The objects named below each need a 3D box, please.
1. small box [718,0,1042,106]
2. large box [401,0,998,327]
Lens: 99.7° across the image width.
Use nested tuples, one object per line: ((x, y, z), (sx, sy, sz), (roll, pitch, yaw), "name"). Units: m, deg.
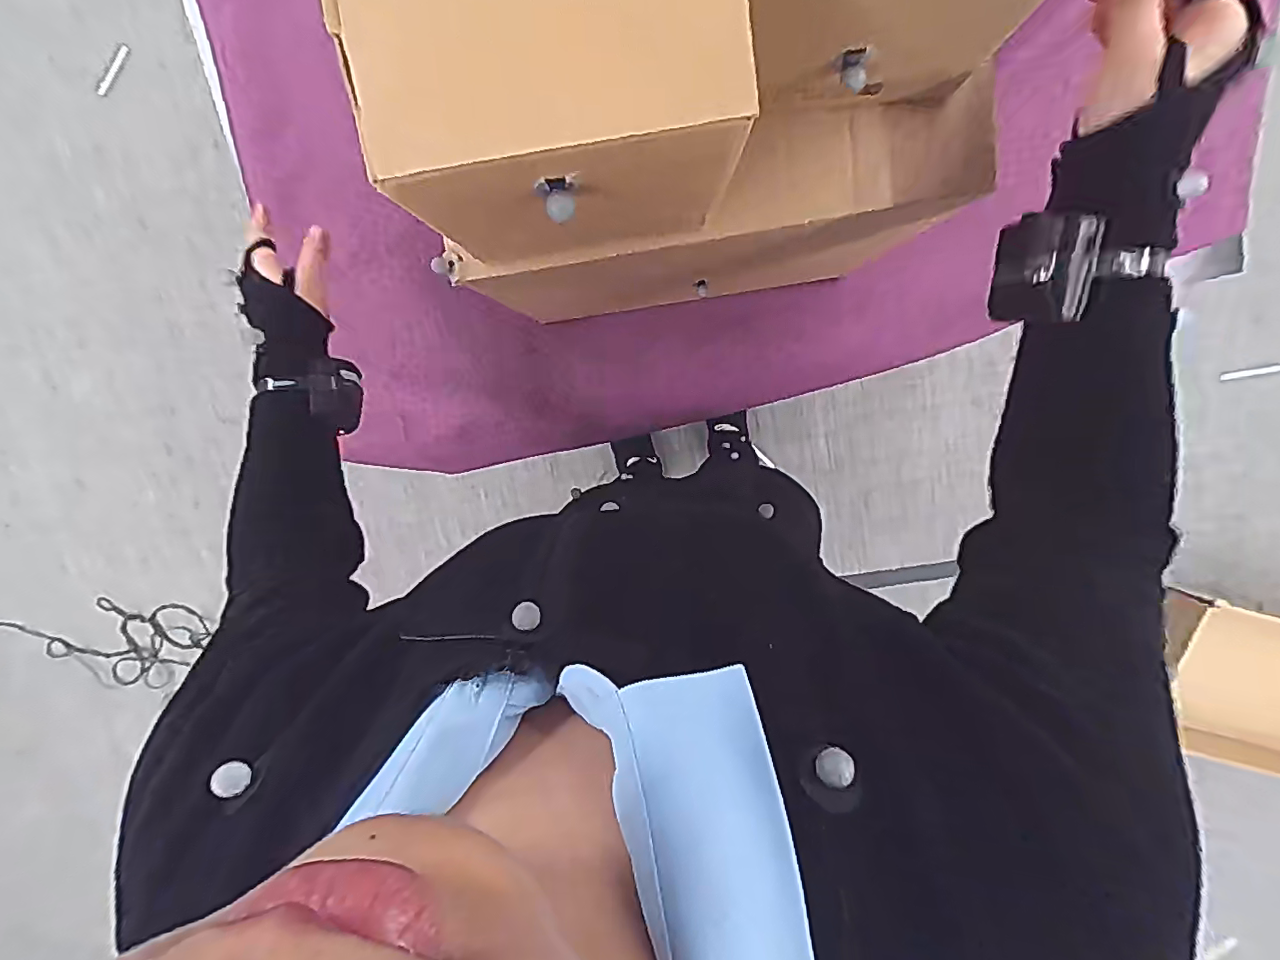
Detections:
((0.126, -0.329, 0.270), (0.168, 0.176, 0.179), (-2, 99, 4), "small box")
((0.042, -0.350, 0.519), (0.408, 0.320, 0.320), (-9, 98, 4), "large box")
